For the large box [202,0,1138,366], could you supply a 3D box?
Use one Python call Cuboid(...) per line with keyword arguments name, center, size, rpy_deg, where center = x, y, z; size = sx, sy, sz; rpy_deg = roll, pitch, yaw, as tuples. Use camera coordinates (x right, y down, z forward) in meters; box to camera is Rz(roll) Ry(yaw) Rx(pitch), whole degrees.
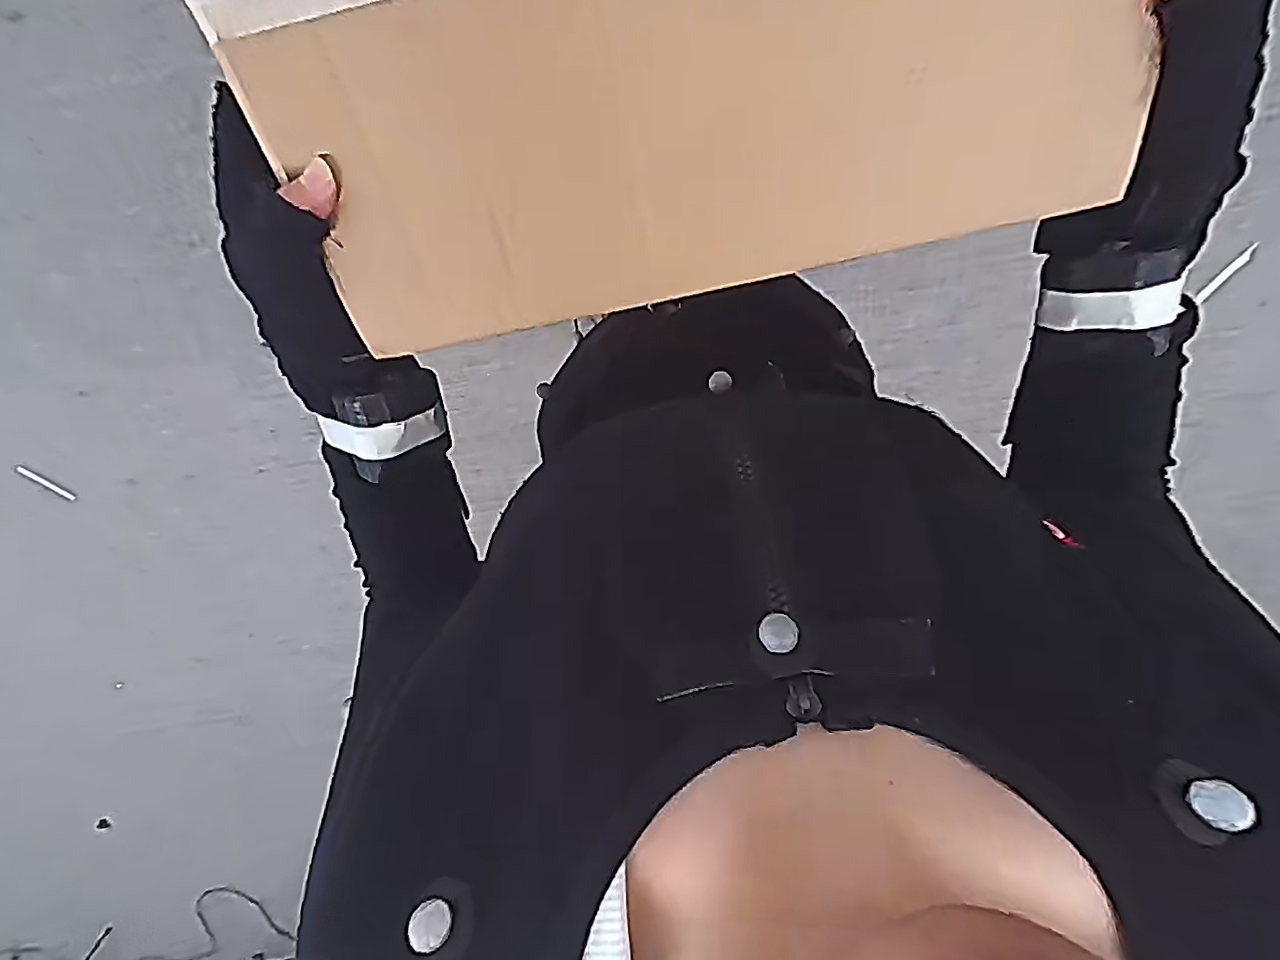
Cuboid(name="large box", center=(0.009, -0.312, 0.338), size=(0.408, 0.320, 0.320), rpy_deg=(-11, 124, 5))
